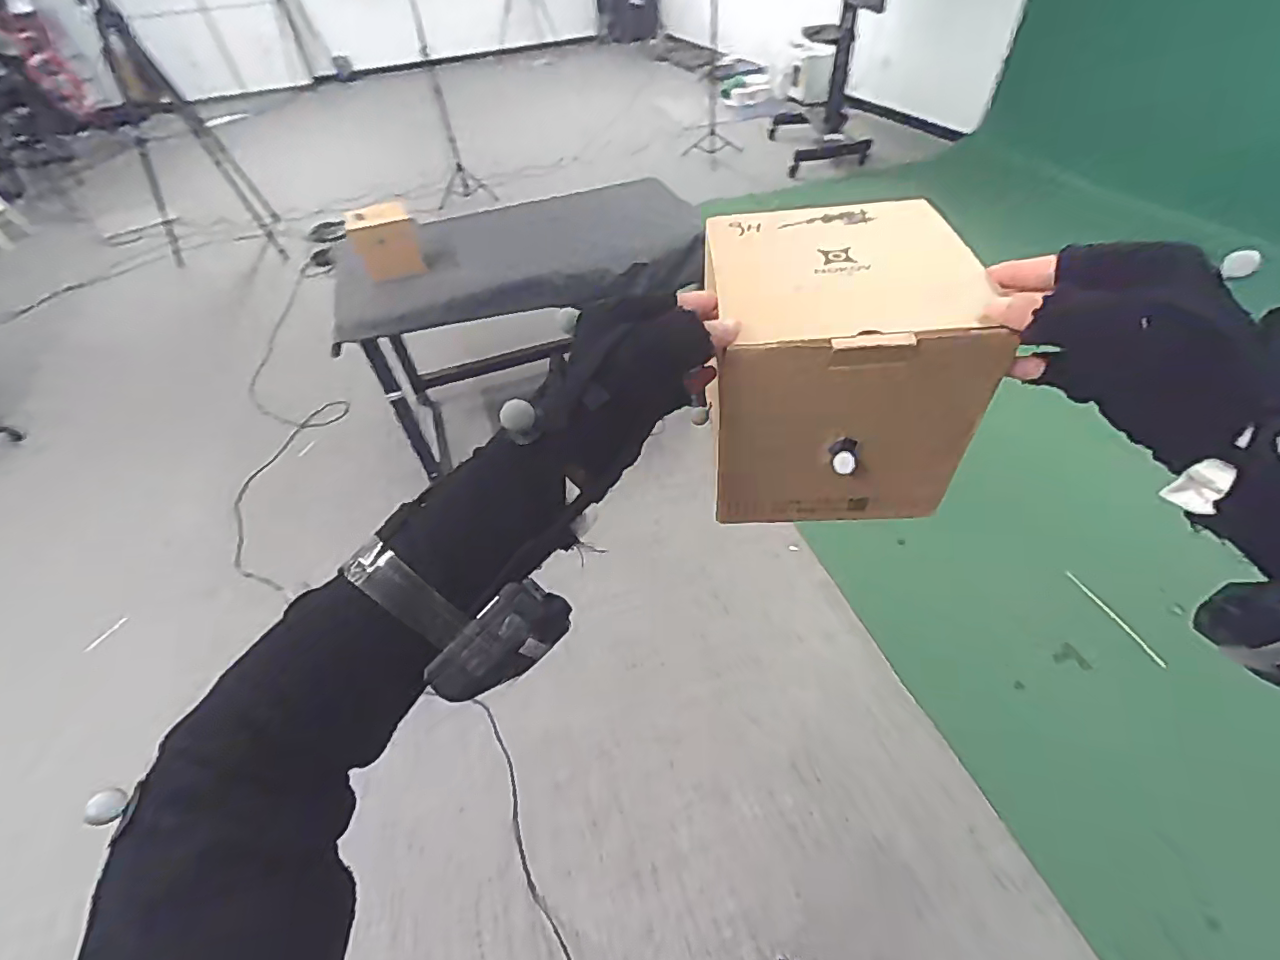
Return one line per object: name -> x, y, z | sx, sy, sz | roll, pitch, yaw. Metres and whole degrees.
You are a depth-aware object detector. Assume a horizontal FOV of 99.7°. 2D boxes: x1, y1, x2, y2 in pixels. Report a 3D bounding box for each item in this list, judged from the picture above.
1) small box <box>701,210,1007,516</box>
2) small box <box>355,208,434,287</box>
small box -> 0.135, -0.083, 0.421 | 0.168, 0.176, 0.179 | -2, 48, 4
small box -> -0.764, -0.724, 1.689 | 0.179, 0.176, 0.168 | -18, 48, -13
